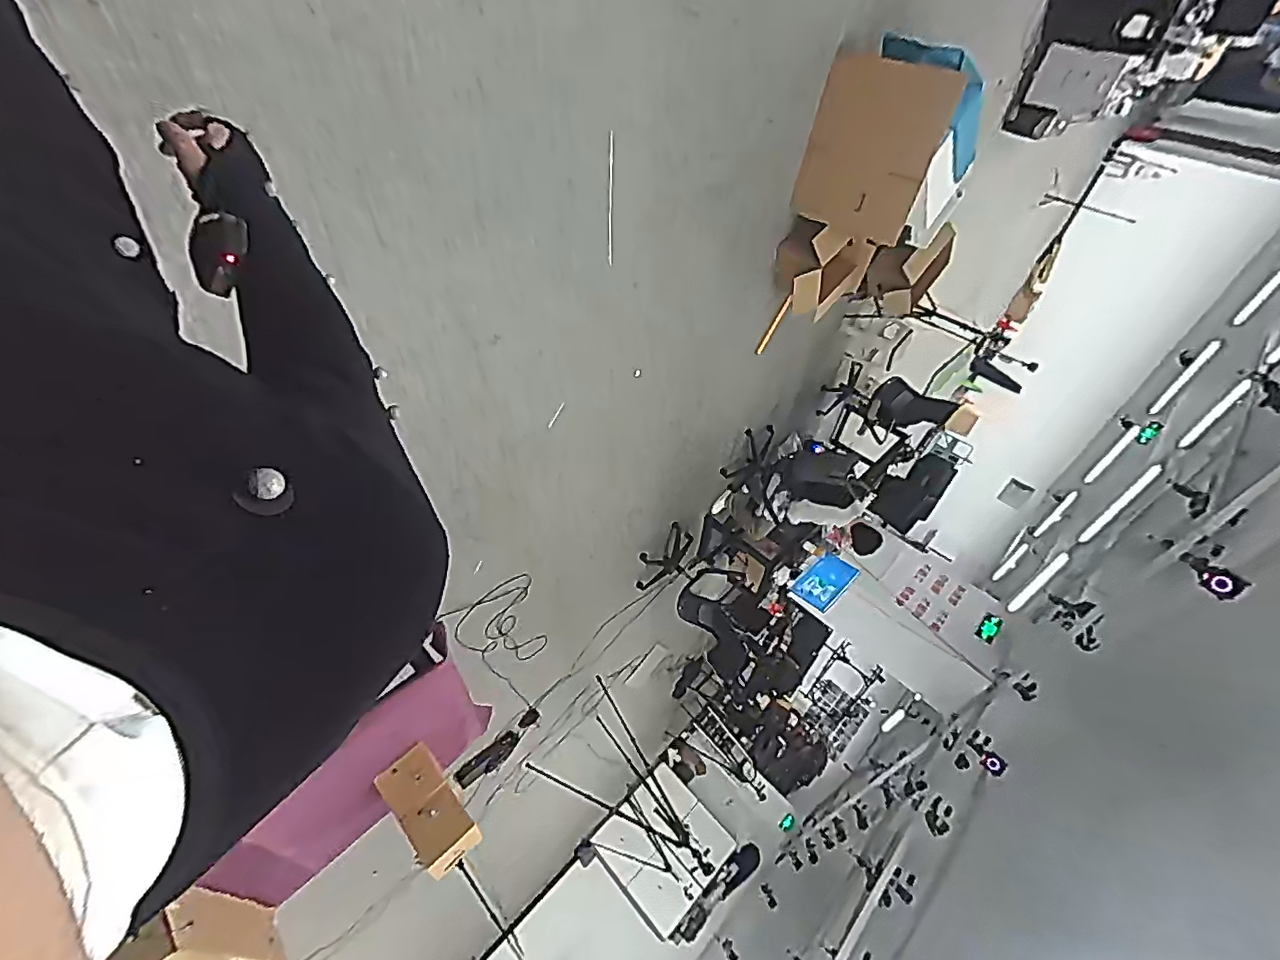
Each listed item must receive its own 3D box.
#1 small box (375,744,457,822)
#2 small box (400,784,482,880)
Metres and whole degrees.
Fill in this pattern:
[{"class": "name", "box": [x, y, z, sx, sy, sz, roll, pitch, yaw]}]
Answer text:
[{"class": "small box", "box": [-0.728, 0.995, 1.758, 0.168, 0.176, 0.179, -36, 149, -29]}, {"class": "small box", "box": [-0.616, 1.090, 1.681, 0.168, 0.176, 0.179, -33, 146, -33]}]
